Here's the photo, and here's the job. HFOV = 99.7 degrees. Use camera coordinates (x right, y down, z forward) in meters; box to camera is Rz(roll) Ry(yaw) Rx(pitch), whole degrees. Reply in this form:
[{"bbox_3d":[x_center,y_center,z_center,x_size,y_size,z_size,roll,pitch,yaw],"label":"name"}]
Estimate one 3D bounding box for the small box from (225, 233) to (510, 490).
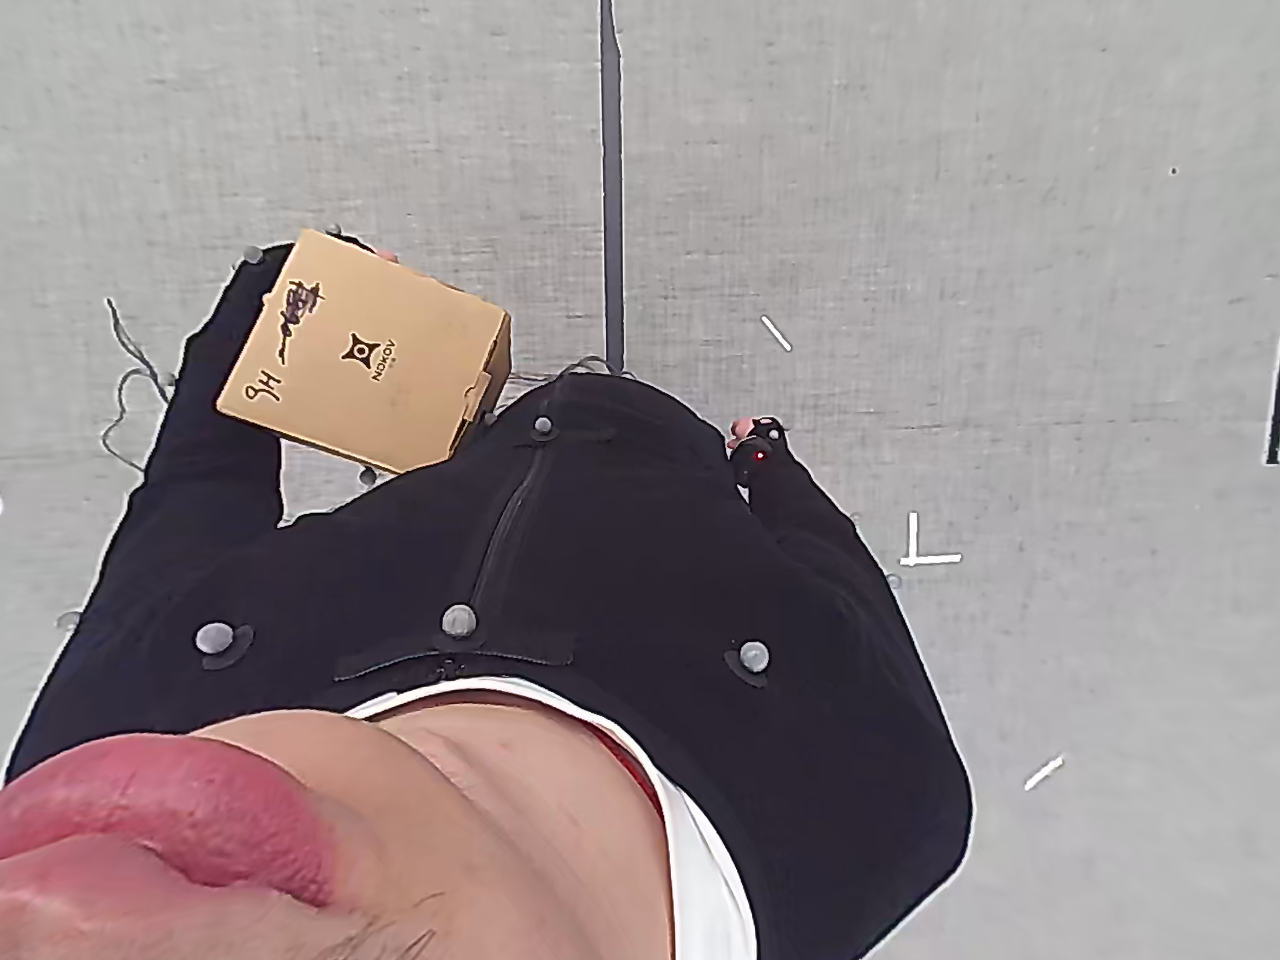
[{"bbox_3d":[-0.238,-0.094,0.526,0.179,0.176,0.168,20,80,-11],"label":"small box"}]
